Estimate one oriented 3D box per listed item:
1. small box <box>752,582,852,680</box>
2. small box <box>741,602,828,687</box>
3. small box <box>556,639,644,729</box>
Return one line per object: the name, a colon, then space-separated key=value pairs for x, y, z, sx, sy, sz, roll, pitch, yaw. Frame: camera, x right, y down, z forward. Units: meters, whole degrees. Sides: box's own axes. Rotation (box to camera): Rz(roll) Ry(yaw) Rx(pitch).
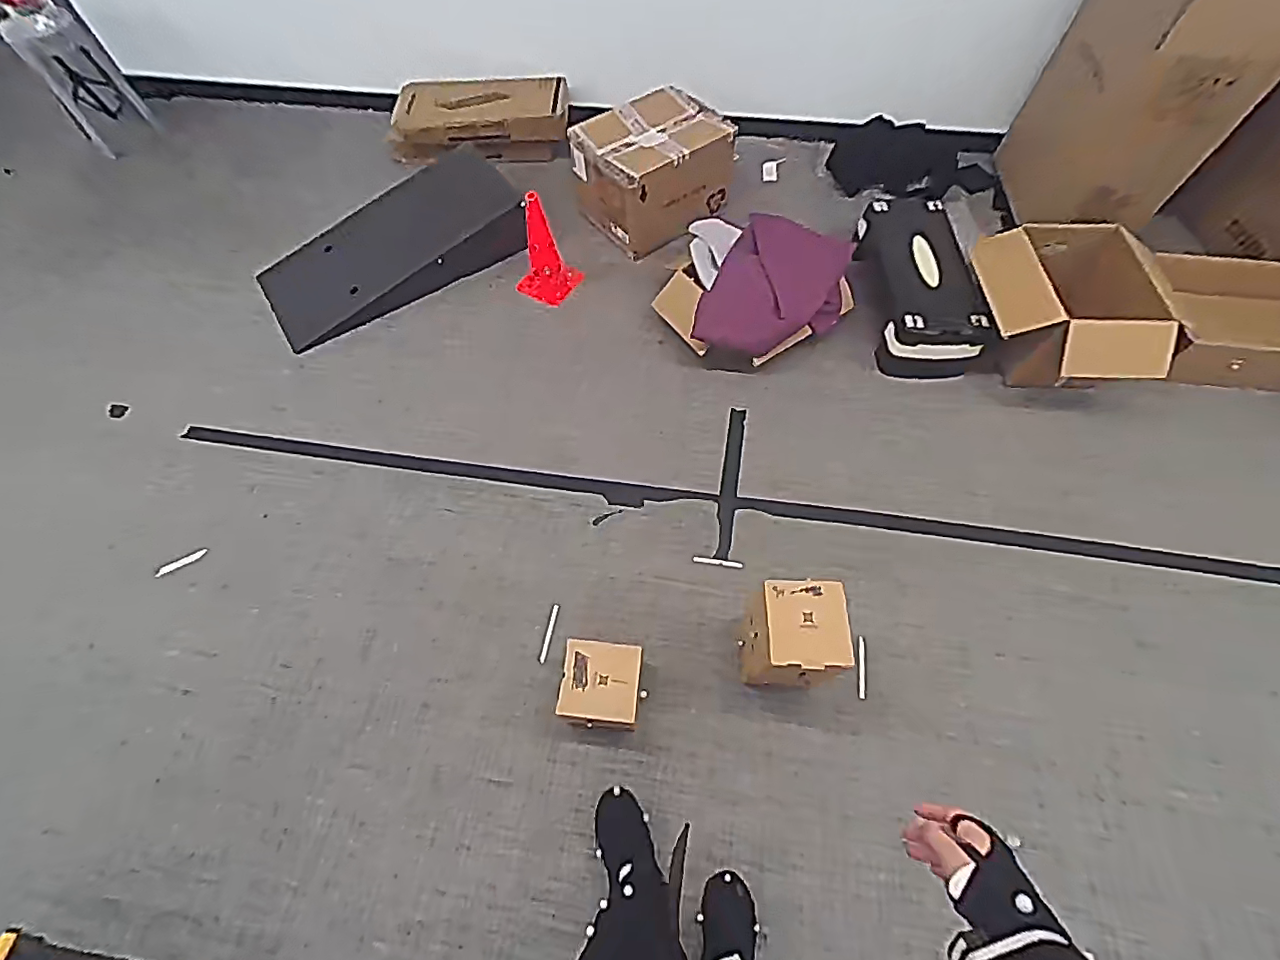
small box: x=0.340 y=0.330 z=1.166 sx=0.168 sy=0.176 sz=0.179 roll=2 pitch=62 yaw=2
small box: x=0.346 y=0.402 z=1.313 sx=0.179 sy=0.176 sz=0.168 roll=3 pitch=61 yaw=3
small box: x=-0.086 y=0.486 z=1.275 sx=0.179 sy=0.176 sz=0.168 roll=5 pitch=62 yaw=4
